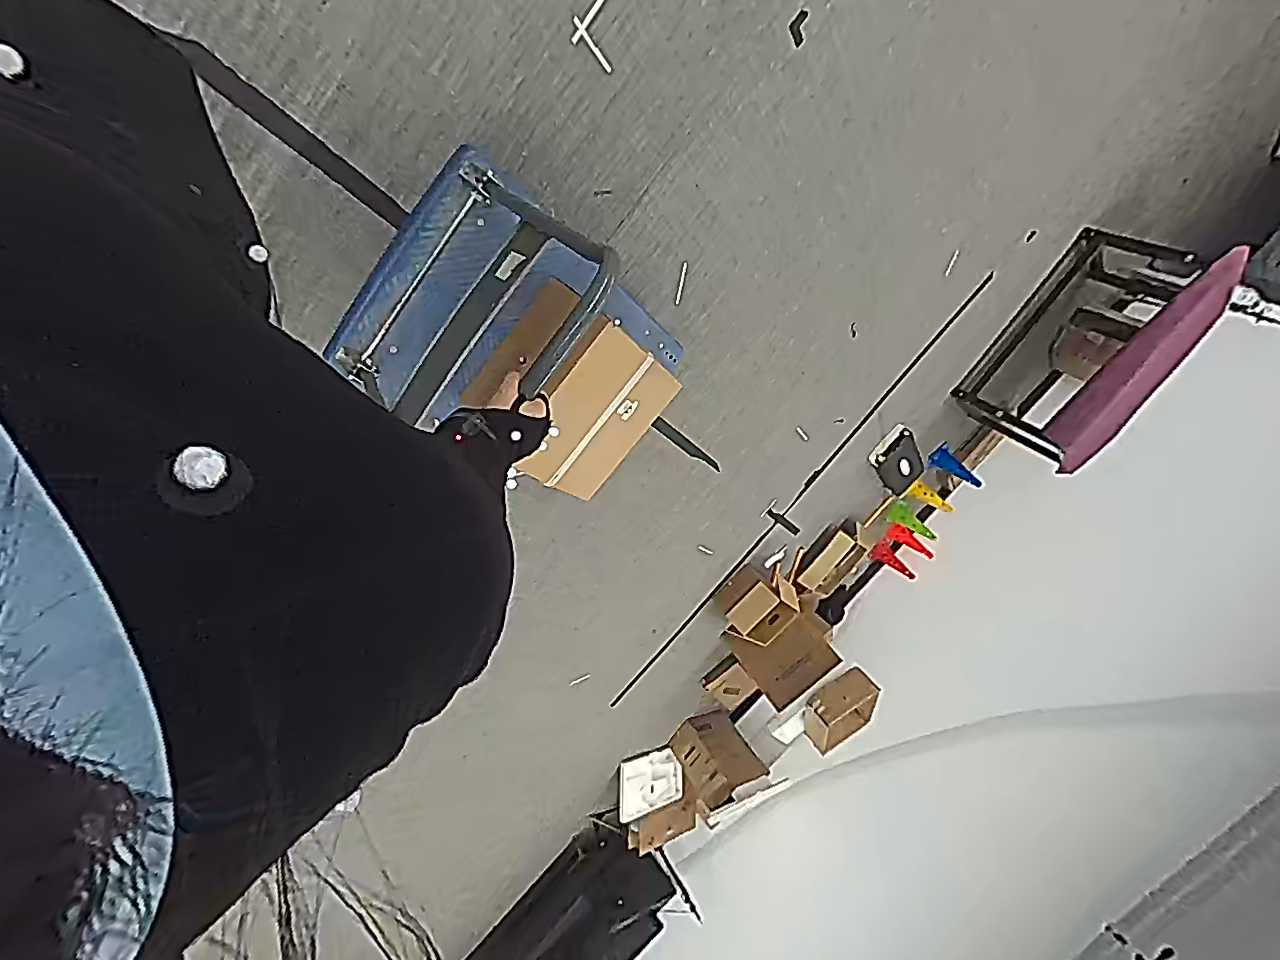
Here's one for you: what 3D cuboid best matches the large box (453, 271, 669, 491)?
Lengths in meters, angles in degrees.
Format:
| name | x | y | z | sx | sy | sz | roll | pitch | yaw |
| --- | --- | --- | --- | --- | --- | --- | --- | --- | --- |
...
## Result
| name | x | y | z | sx | sy | sz | roll | pitch | yaw |
| --- | --- | --- | --- | --- | --- | --- | --- | --- | --- |
| large box | -0.211 | -0.250 | 1.404 | 0.408 | 0.320 | 0.320 | -51 | 141 | 7 |
